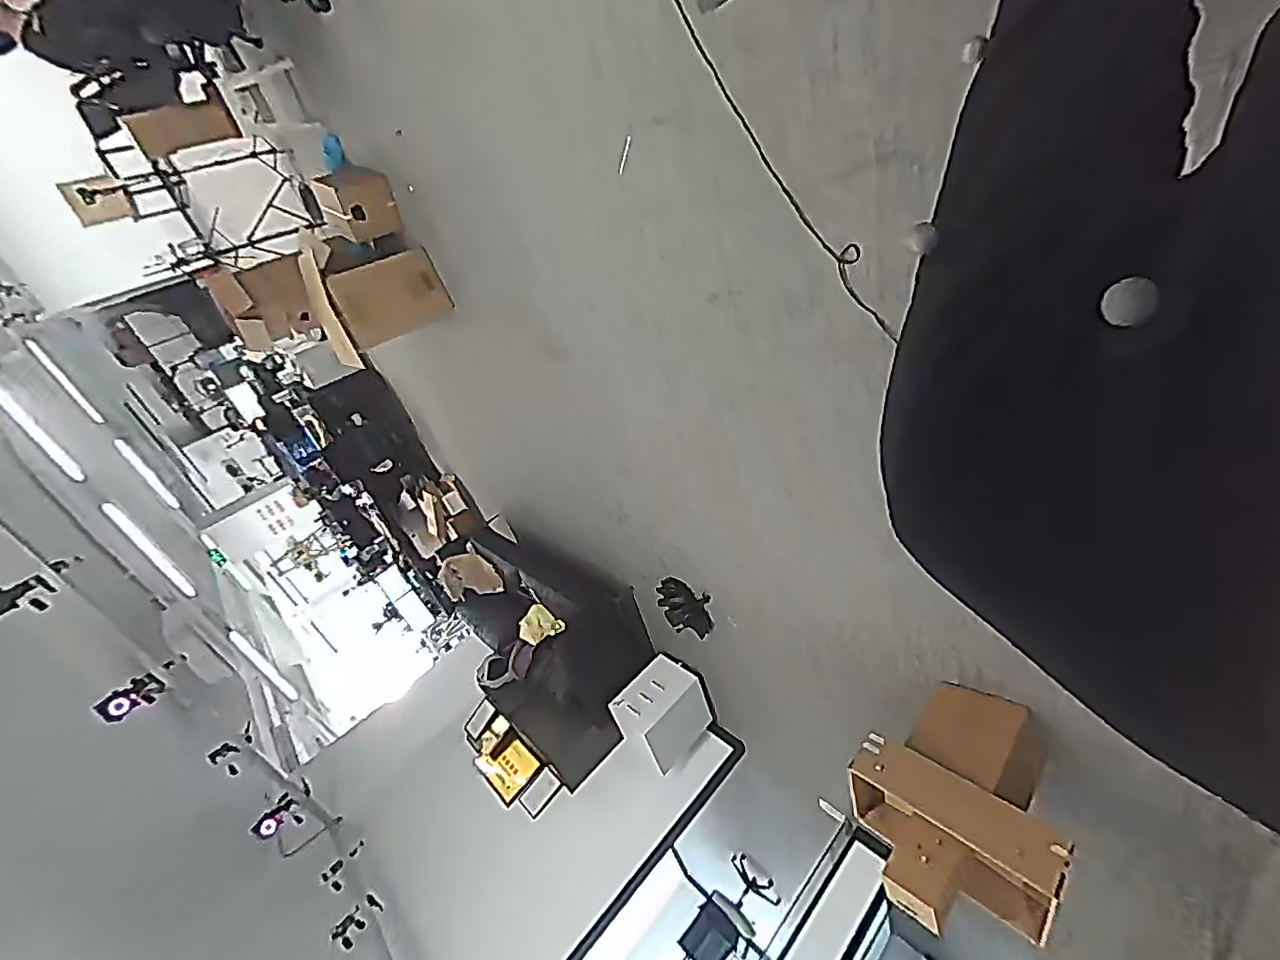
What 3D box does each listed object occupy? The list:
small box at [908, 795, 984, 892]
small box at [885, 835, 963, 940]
[{"bbox_3d":[1.031,1.211,1.811,0.168,0.176,0.179,10,132,50],"label":"small box"},{"bbox_3d":[0.917,1.302,1.735,0.168,0.176,0.179,12,131,49],"label":"small box"}]
